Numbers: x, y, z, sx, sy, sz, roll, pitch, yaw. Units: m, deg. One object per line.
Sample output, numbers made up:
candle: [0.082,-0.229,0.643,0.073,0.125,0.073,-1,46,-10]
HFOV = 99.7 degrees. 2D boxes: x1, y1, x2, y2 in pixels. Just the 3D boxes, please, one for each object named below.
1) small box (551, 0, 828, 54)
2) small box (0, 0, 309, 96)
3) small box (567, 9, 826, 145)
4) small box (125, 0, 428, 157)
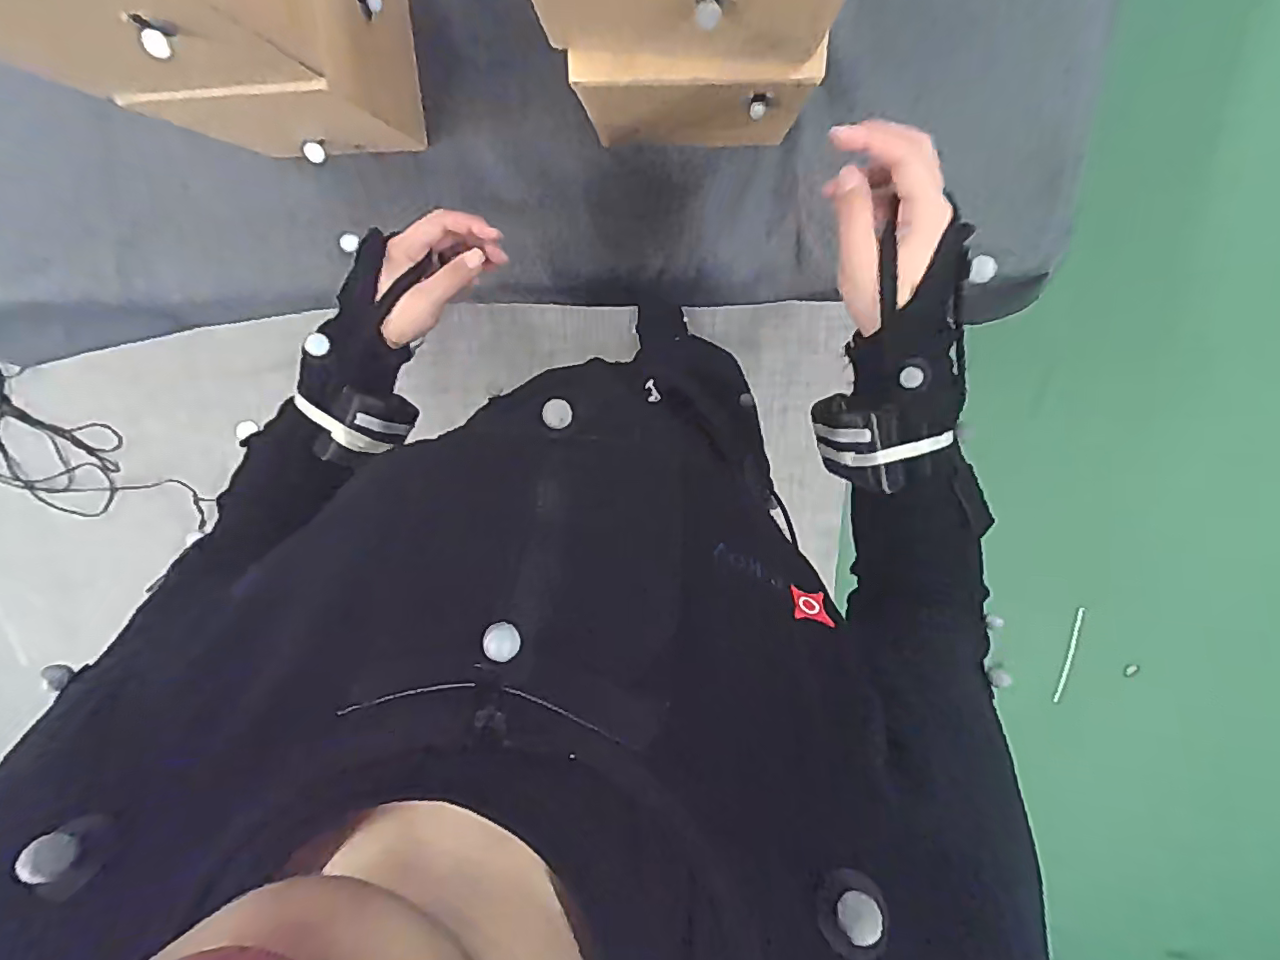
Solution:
small box: [0.028,-0.339,0.261,0.179,0.176,0.168,5,108,2]
small box: [-0.311,-0.331,0.286,0.179,0.176,0.168,-2,107,5]
small box: [0.041,-0.377,0.424,0.179,0.176,0.168,1,108,3]
small box: [-0.295,-0.385,0.439,0.168,0.176,0.179,-1,109,4]
